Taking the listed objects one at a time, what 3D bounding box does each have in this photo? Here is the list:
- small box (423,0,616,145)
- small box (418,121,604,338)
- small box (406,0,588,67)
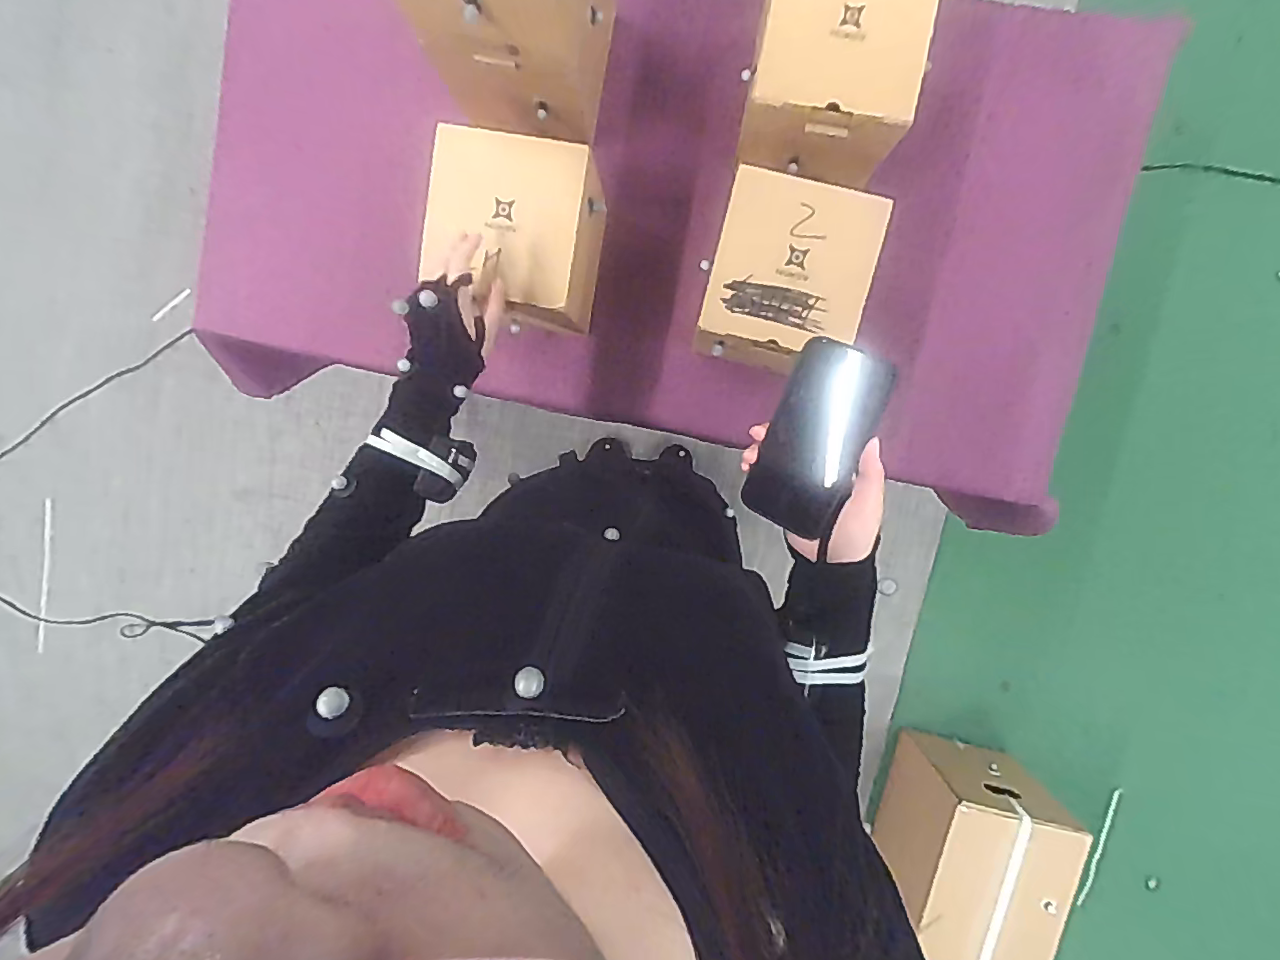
[{"bbox_3d":[-0.127,-0.530,0.631,0.168,0.176,0.179,12,96,1],"label":"small box"},{"bbox_3d":[-0.141,-0.286,0.655,0.168,0.176,0.179,11,95,2],"label":"small box"},{"bbox_3d":[-0.130,-0.509,0.468,0.168,0.176,0.179,12,97,0],"label":"small box"}]
